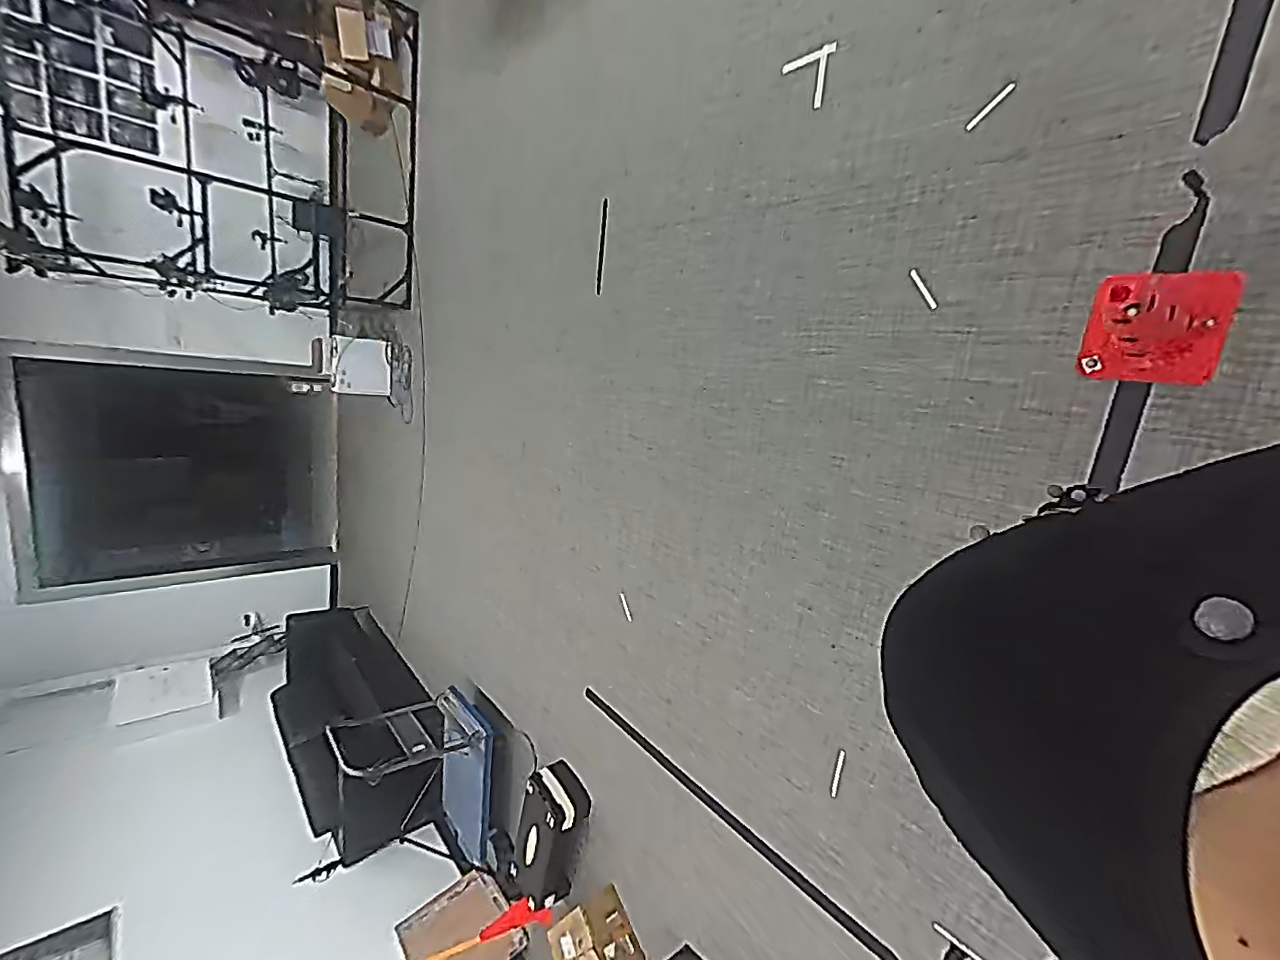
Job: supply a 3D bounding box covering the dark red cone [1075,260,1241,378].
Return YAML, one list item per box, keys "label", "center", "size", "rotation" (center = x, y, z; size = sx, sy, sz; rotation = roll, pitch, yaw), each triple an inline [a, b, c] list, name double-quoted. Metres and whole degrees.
- label: "dark red cone"
  center: [0.824, -0.290, 0.890]
  size: [0.201, 0.394, 0.202]
  rotation: [18, 106, 46]
